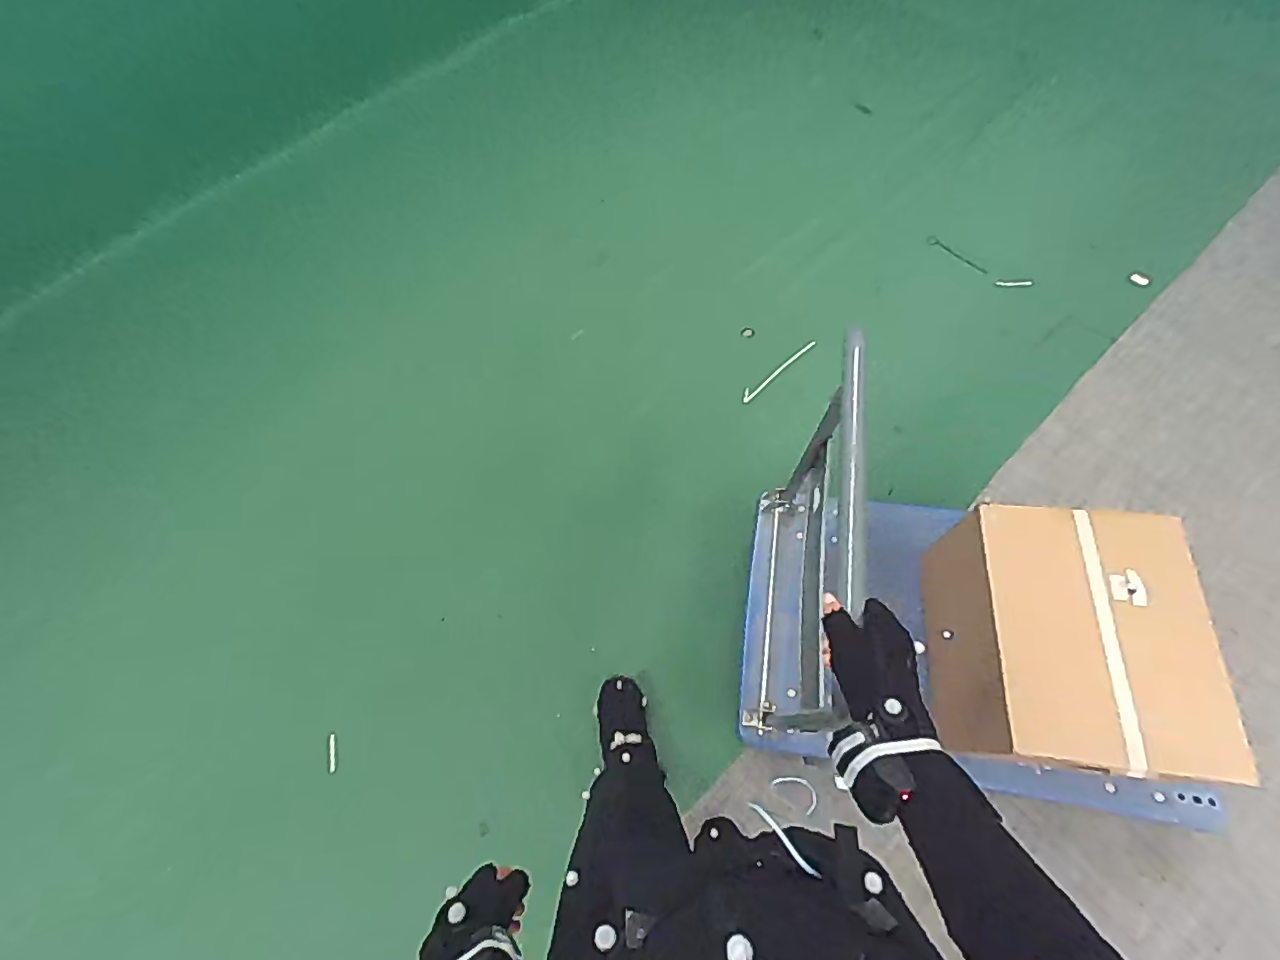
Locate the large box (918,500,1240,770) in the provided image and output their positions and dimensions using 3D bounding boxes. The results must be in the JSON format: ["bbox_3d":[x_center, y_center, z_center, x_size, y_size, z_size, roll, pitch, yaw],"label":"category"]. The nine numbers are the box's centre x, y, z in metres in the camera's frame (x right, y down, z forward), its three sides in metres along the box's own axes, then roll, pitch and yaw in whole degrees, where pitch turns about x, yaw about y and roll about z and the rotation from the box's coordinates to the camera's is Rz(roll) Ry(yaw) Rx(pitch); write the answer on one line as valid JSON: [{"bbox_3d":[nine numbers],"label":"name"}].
[{"bbox_3d":[0.737,0.290,0.997,0.320,0.320,0.408,5,64,9],"label":"large box"}]
